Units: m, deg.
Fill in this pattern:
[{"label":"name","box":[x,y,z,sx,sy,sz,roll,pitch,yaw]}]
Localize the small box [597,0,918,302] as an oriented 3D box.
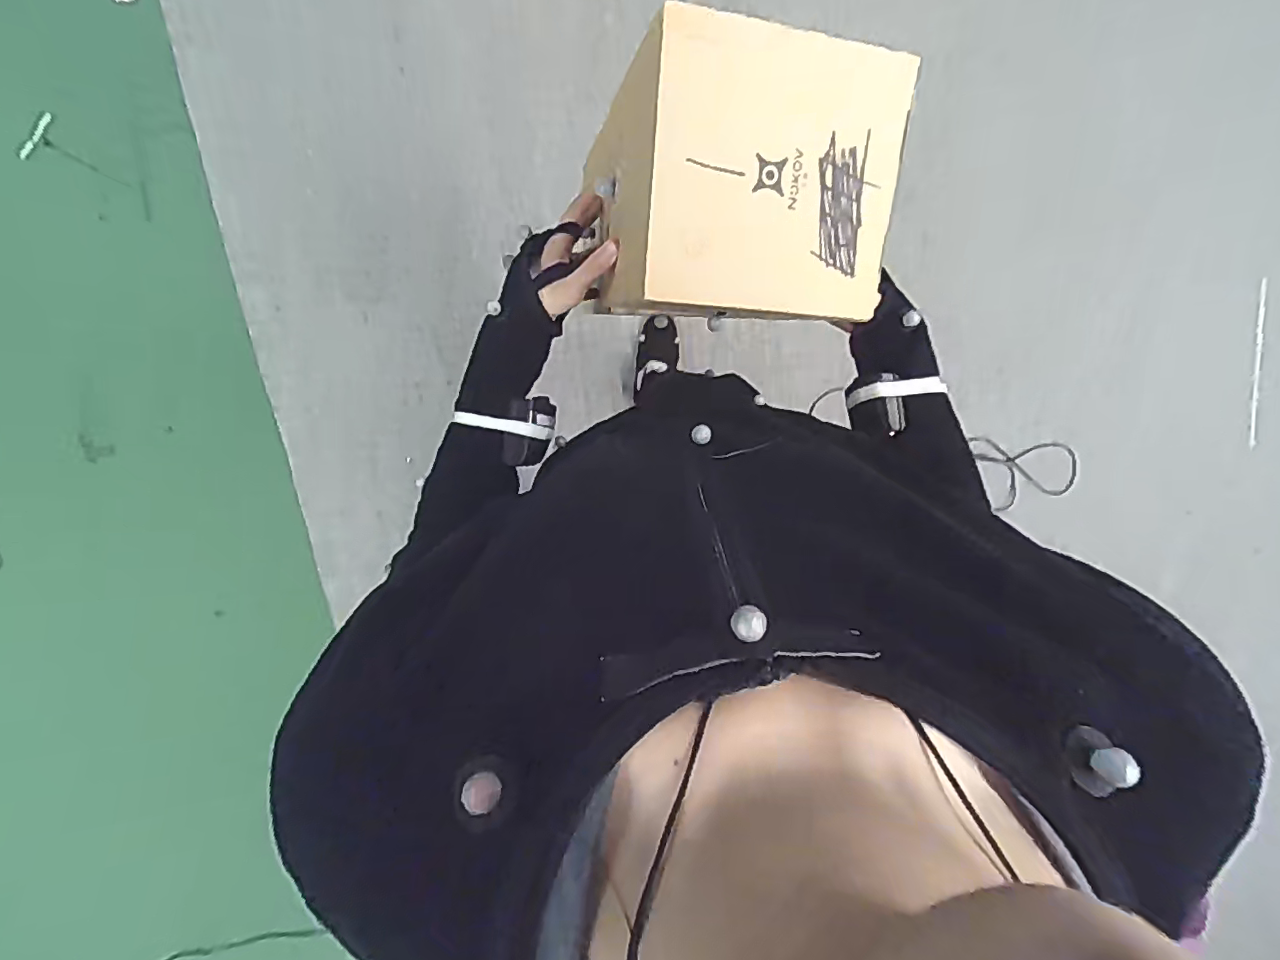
[{"label":"small box","box":[0.070,-0.232,0.420,0.179,0.176,0.168,1,106,-13]}]
